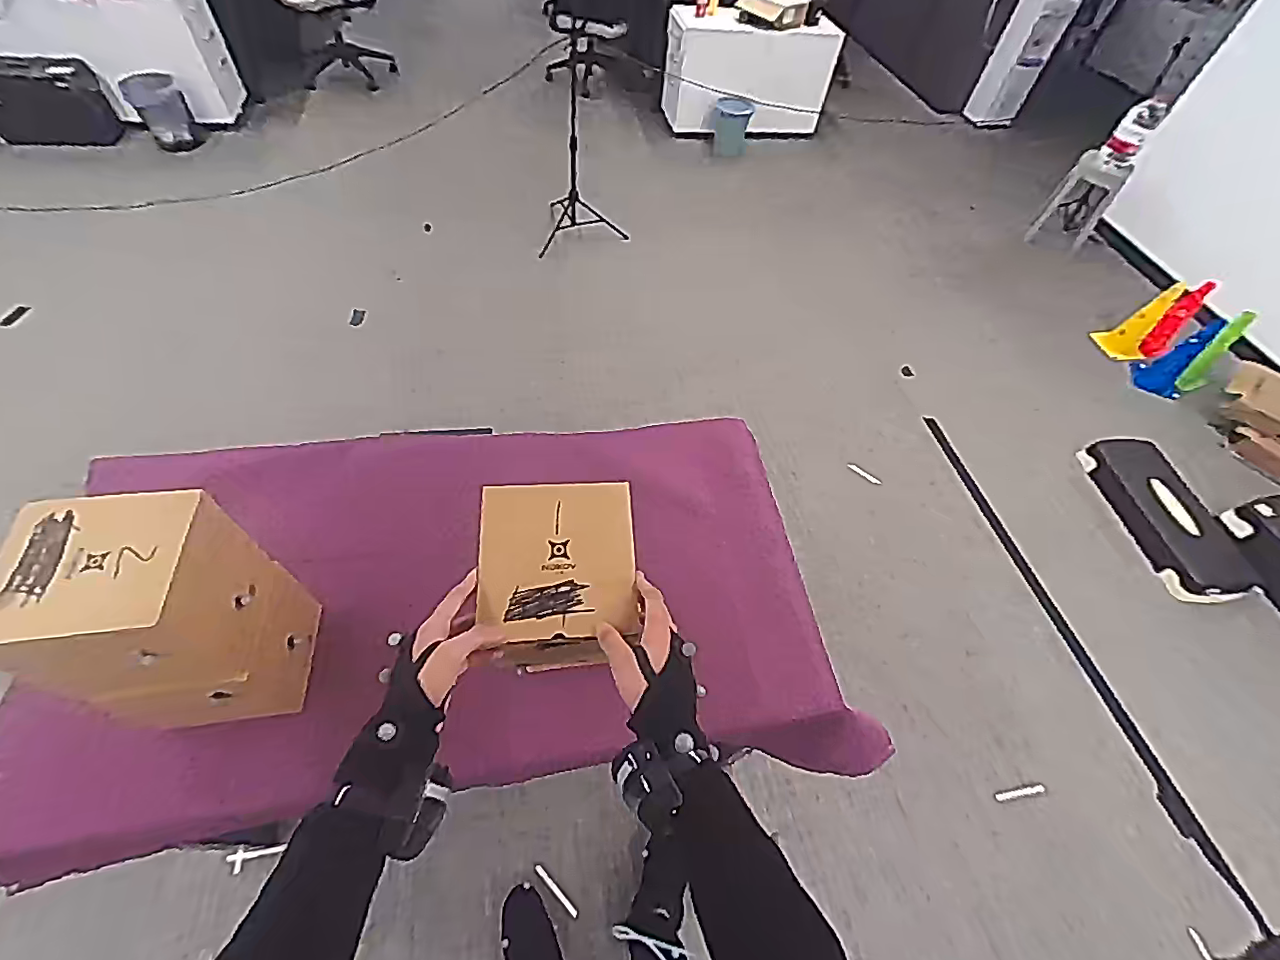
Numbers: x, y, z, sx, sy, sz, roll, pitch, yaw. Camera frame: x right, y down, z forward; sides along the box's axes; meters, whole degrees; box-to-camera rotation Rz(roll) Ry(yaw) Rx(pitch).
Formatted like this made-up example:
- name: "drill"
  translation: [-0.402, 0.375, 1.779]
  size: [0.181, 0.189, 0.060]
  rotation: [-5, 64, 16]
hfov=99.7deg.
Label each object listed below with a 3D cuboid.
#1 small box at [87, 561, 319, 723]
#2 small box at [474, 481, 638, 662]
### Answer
- name: "small box"
  translation: [-0.578, 0.227, 0.752]
  size: [0.179, 0.176, 0.168]
  rotation: [-3, 55, -9]
- name: "small box"
  translation: [-0.093, 0.116, 0.643]
  size: [0.168, 0.176, 0.179]
  rotation: [-1, 63, -7]
